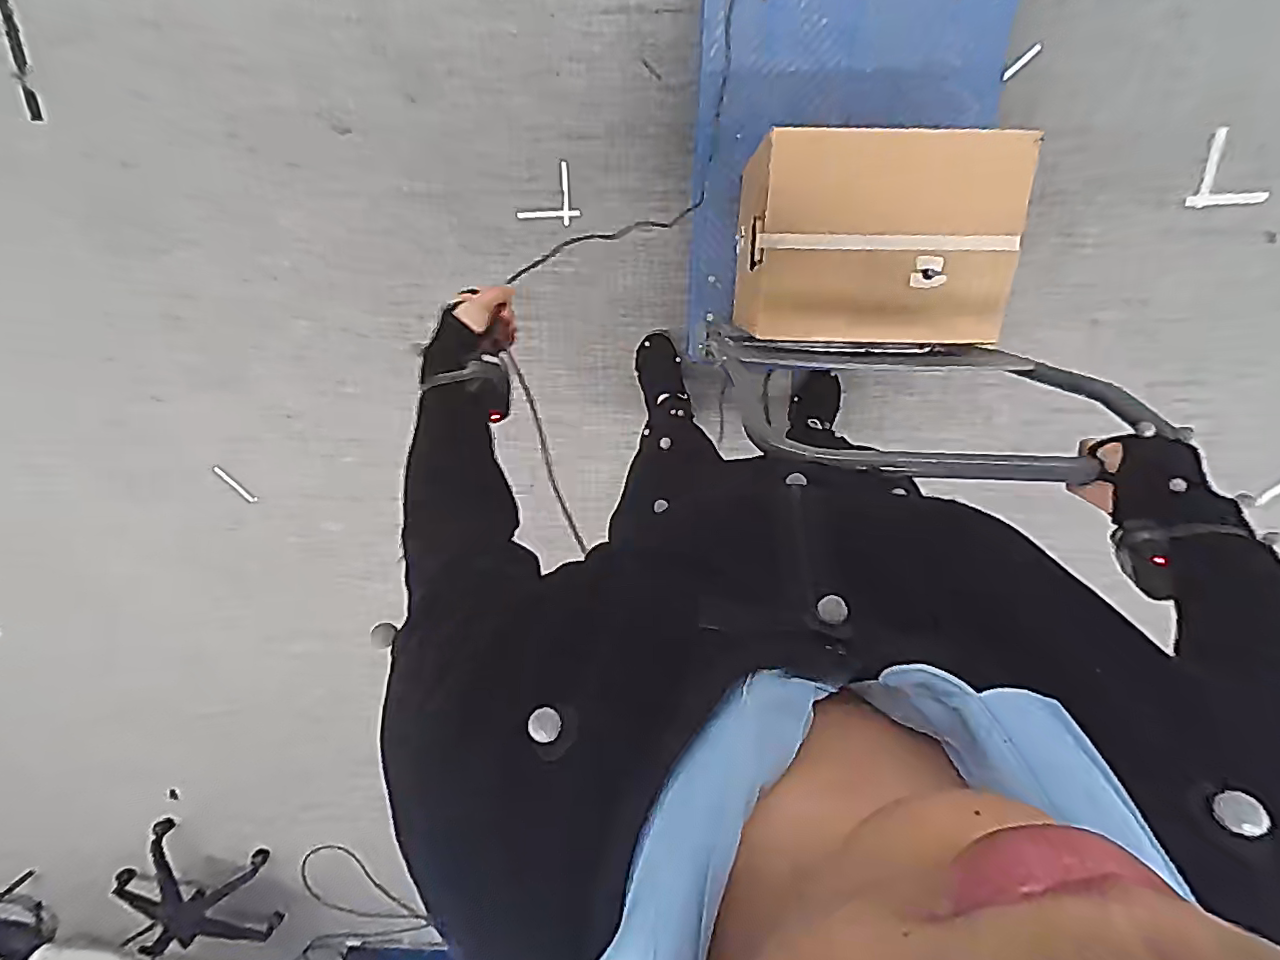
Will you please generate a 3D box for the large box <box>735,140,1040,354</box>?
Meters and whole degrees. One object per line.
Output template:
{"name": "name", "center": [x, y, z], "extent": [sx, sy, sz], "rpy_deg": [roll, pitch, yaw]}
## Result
{"name": "large box", "center": [0.399, -0.405, 0.992], "extent": [0.408, 0.320, 0.320], "rpy_deg": [1, 109, 1]}
